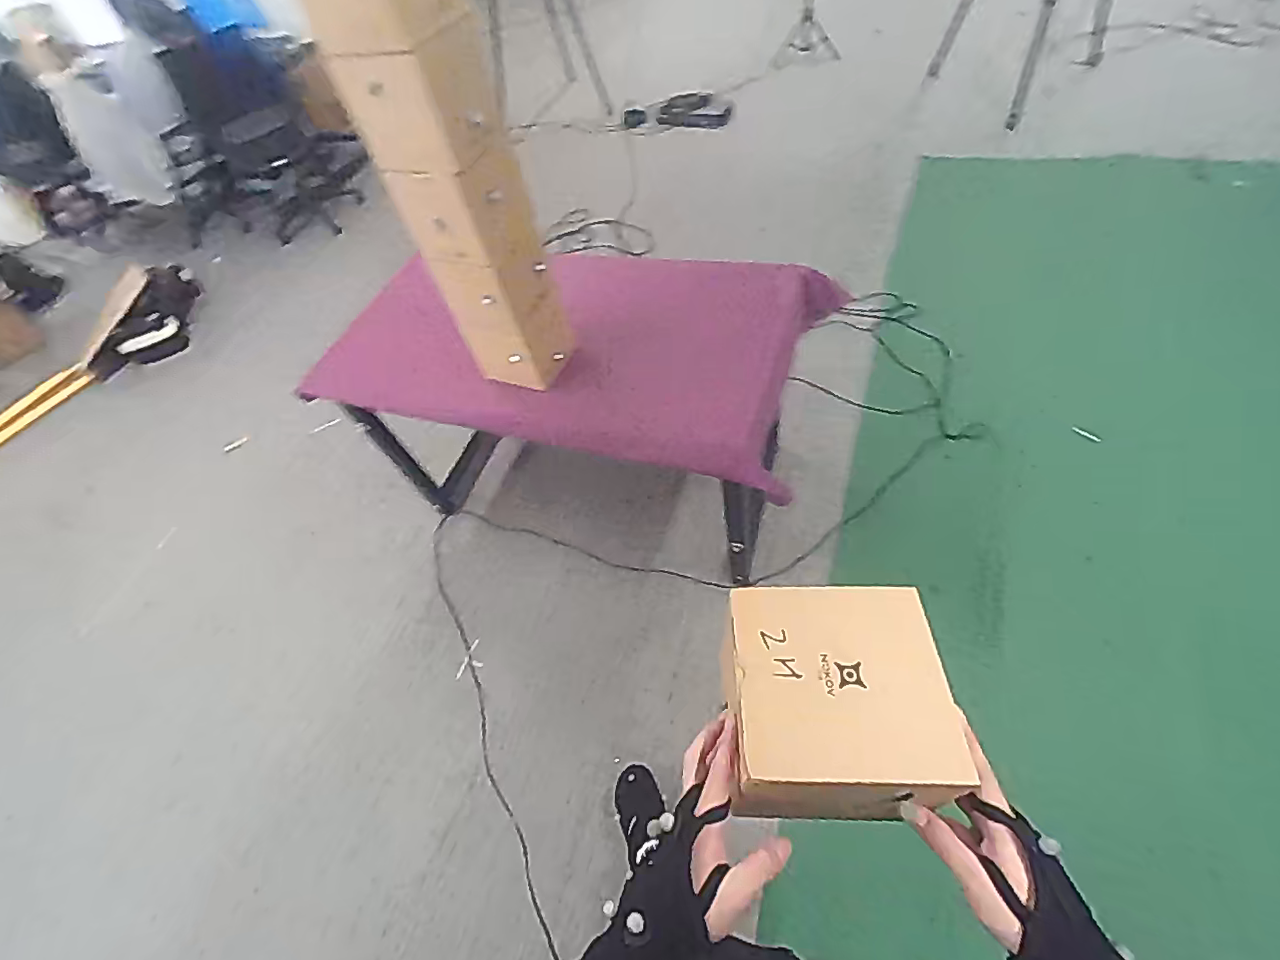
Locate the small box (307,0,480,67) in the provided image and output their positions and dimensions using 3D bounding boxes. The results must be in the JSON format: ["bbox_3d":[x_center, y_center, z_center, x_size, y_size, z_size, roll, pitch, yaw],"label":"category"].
[{"bbox_3d":[-0.362,-0.716,0.770,0.179,0.176,0.168,14,58,21],"label":"small box"}]

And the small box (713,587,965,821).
[{"bbox_3d":[0.164,0.215,0.517,0.179,0.176,0.168,-2,49,4],"label":"small box"}]

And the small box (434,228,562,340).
[{"bbox_3d":[-0.292,-0.423,1.157,0.179,0.176,0.168,16,59,22],"label":"small box"}]

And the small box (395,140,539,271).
[{"bbox_3d":[-0.316,-0.523,1.030,0.168,0.176,0.179,16,59,21],"label":"small box"}]

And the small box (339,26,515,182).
[{"bbox_3d":[-0.342,-0.621,0.900,0.179,0.176,0.168,14,58,20],"label":"small box"}]
